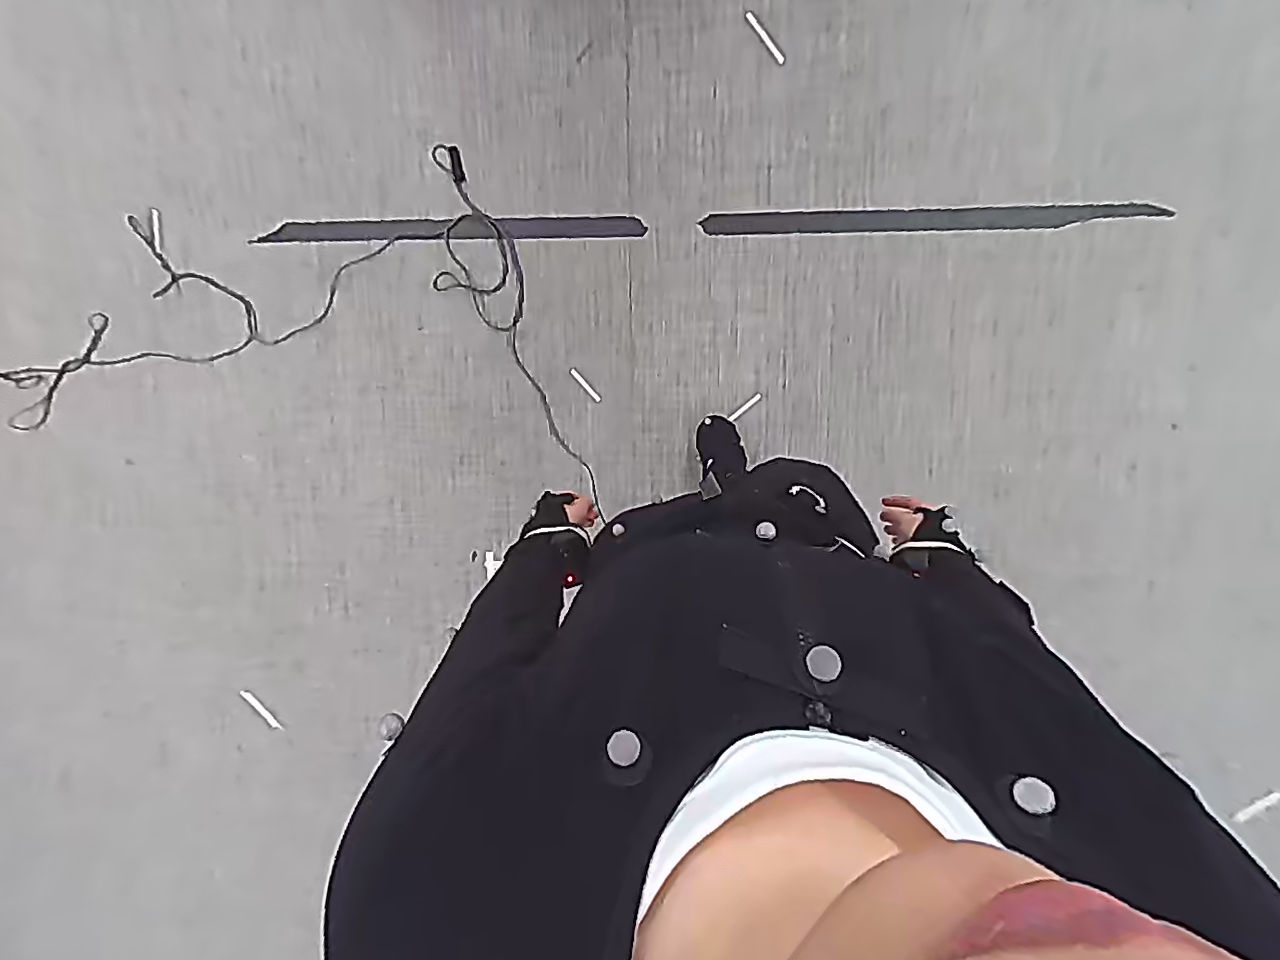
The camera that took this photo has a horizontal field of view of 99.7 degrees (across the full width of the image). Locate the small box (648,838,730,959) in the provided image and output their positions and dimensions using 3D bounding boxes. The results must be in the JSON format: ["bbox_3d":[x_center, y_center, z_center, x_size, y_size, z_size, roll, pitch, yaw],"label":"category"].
[{"bbox_3d":[0.106,0.931,1.184,0.168,0.176,0.179,1,95,4],"label":"small box"}]
